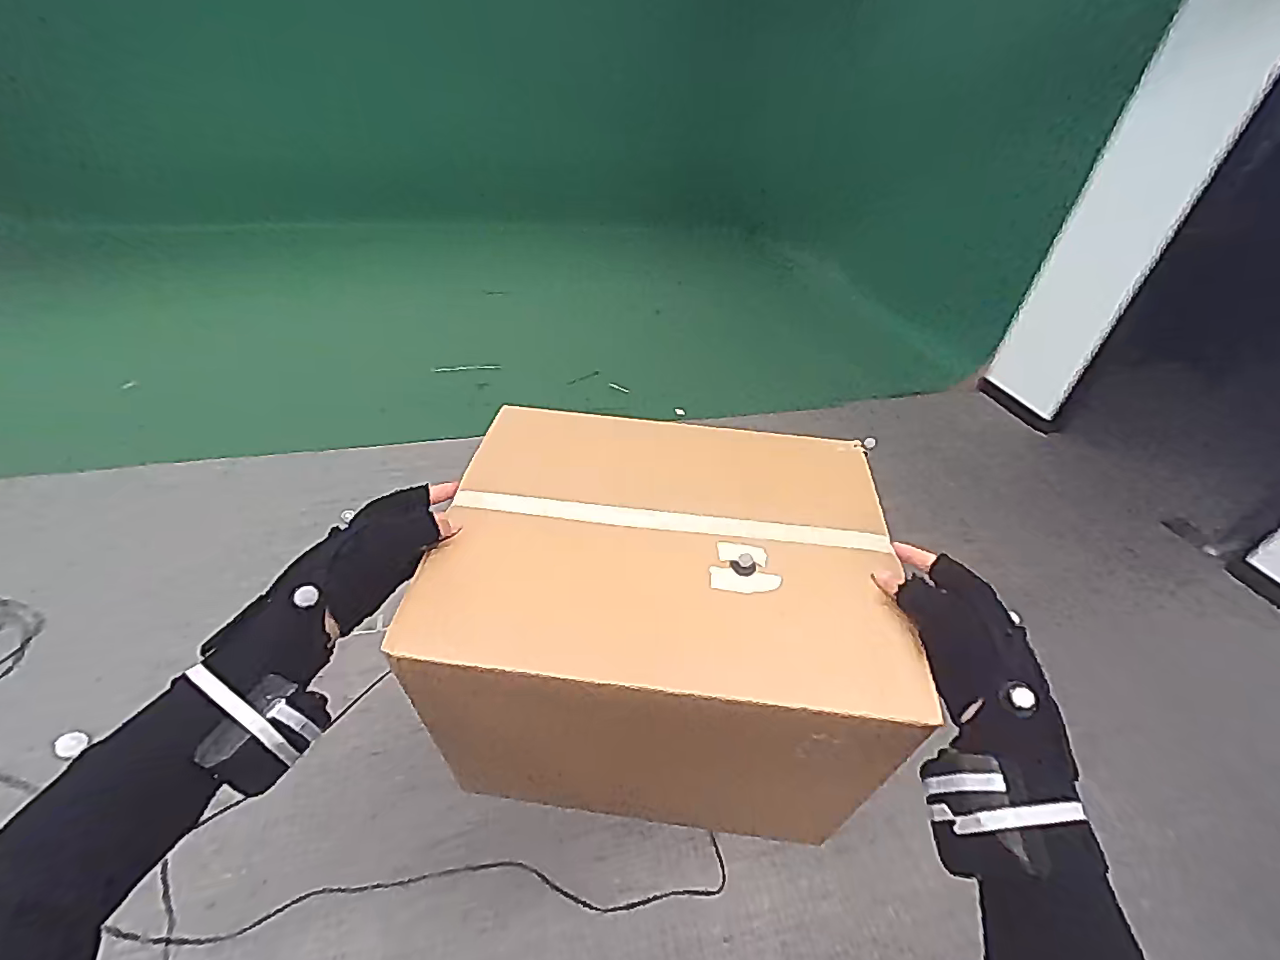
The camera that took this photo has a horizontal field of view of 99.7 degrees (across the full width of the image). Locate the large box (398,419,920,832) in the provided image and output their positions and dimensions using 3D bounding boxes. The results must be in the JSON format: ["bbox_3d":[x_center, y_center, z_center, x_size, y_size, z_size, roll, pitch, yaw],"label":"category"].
[{"bbox_3d":[0.015,0.159,0.611,0.408,0.320,0.320,6,43,2],"label":"large box"}]
